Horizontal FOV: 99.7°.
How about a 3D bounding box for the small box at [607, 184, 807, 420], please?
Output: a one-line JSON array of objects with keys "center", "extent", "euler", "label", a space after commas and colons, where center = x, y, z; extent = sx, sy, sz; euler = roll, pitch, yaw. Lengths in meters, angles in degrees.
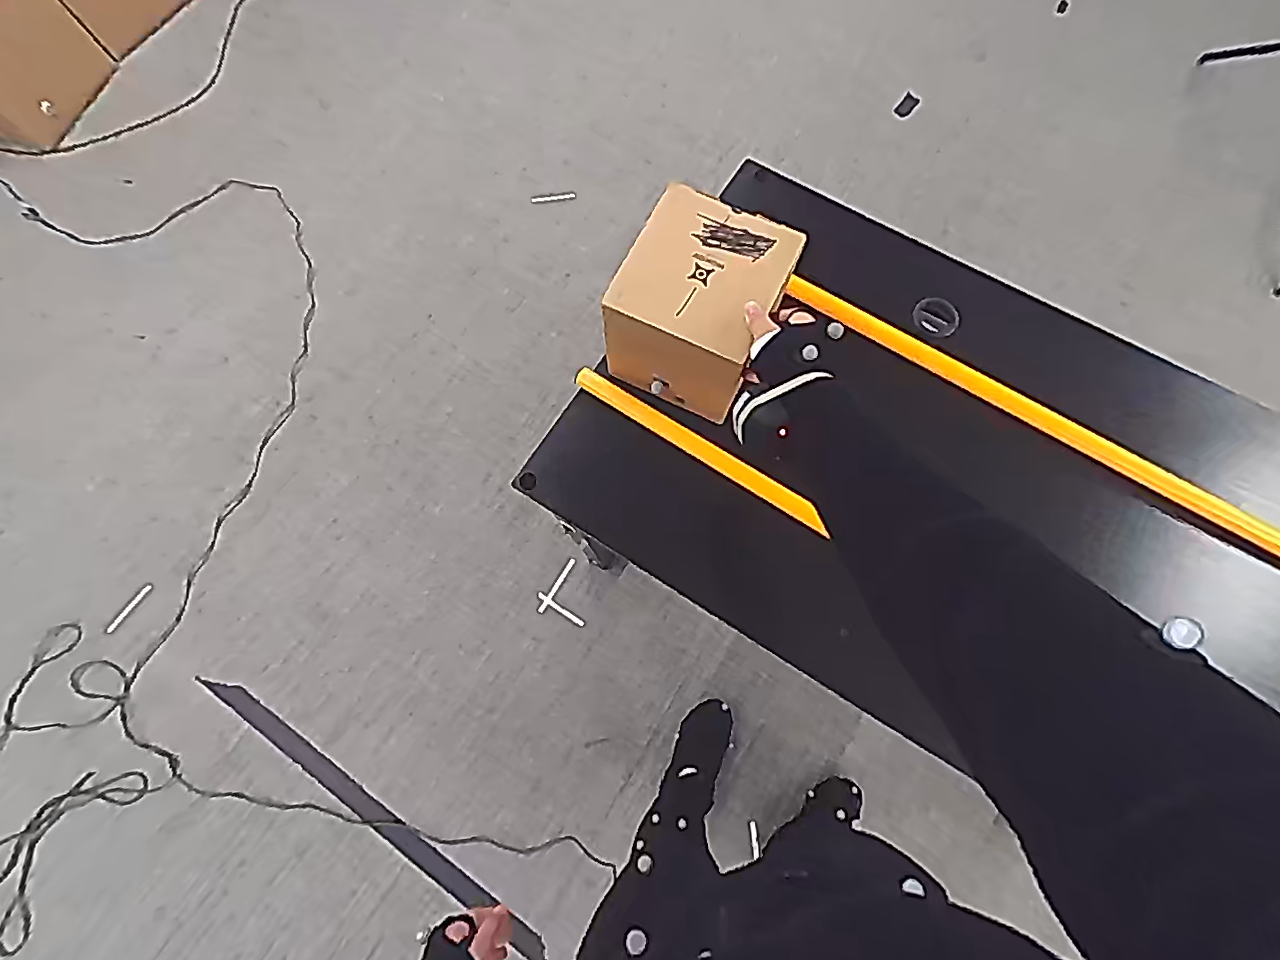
[{"center": [0.073, -0.203, 0.654], "extent": [0.168, 0.176, 0.179], "euler": [26, 77, 8], "label": "small box"}]
